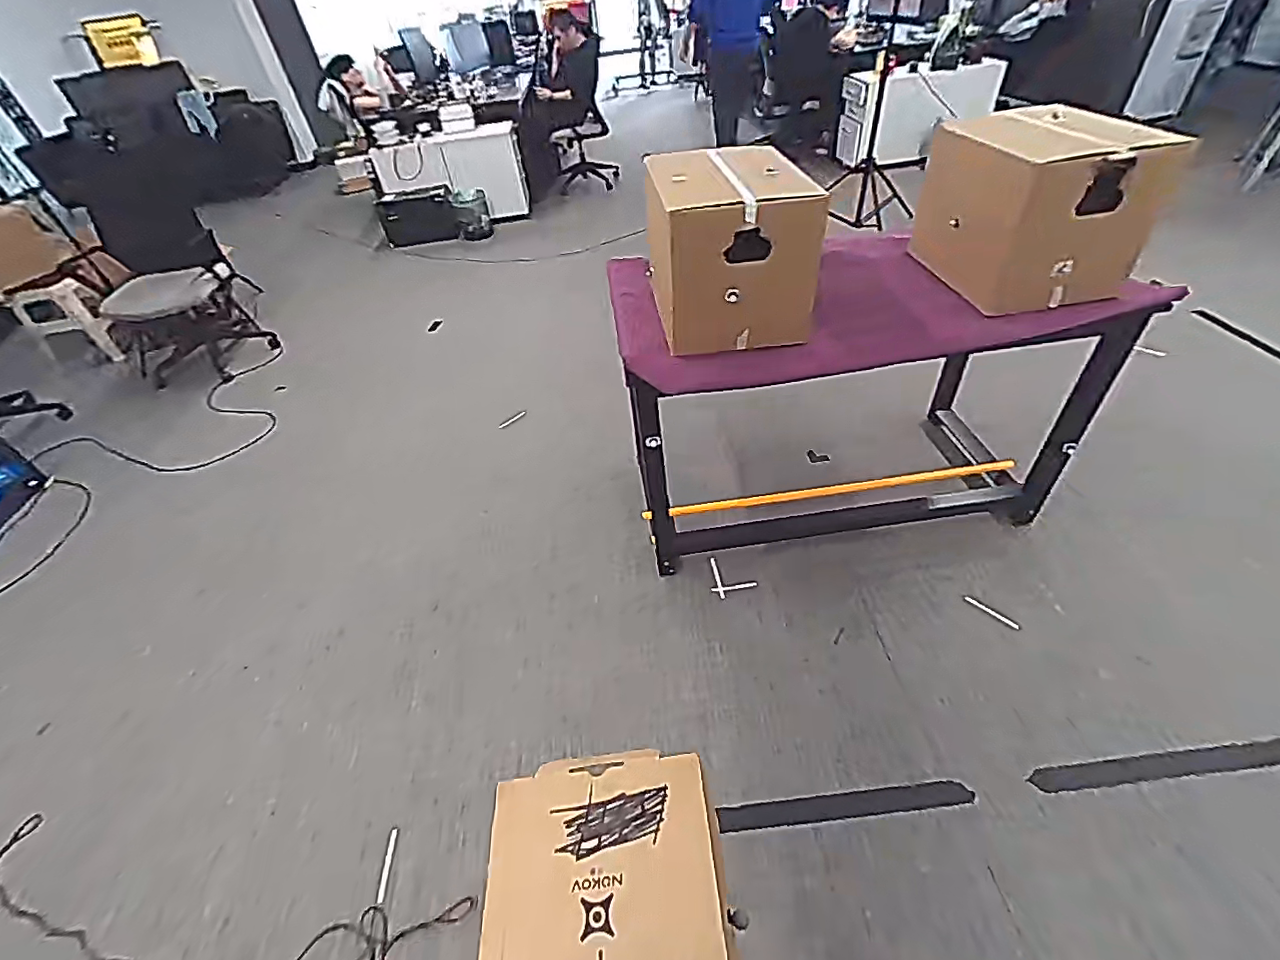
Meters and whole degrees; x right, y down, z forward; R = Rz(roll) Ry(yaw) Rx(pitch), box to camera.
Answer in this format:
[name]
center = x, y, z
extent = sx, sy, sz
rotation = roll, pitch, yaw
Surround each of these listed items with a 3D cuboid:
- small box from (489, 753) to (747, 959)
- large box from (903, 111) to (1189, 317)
[small box]
center = -0.007, 0.345, 0.422
extent = 0.168, 0.176, 0.179
rotation = -10, 41, 4
[large box]
center = 0.880, -0.624, 1.257
extent = 0.320, 0.320, 0.408
rotation = -9, 42, -1
